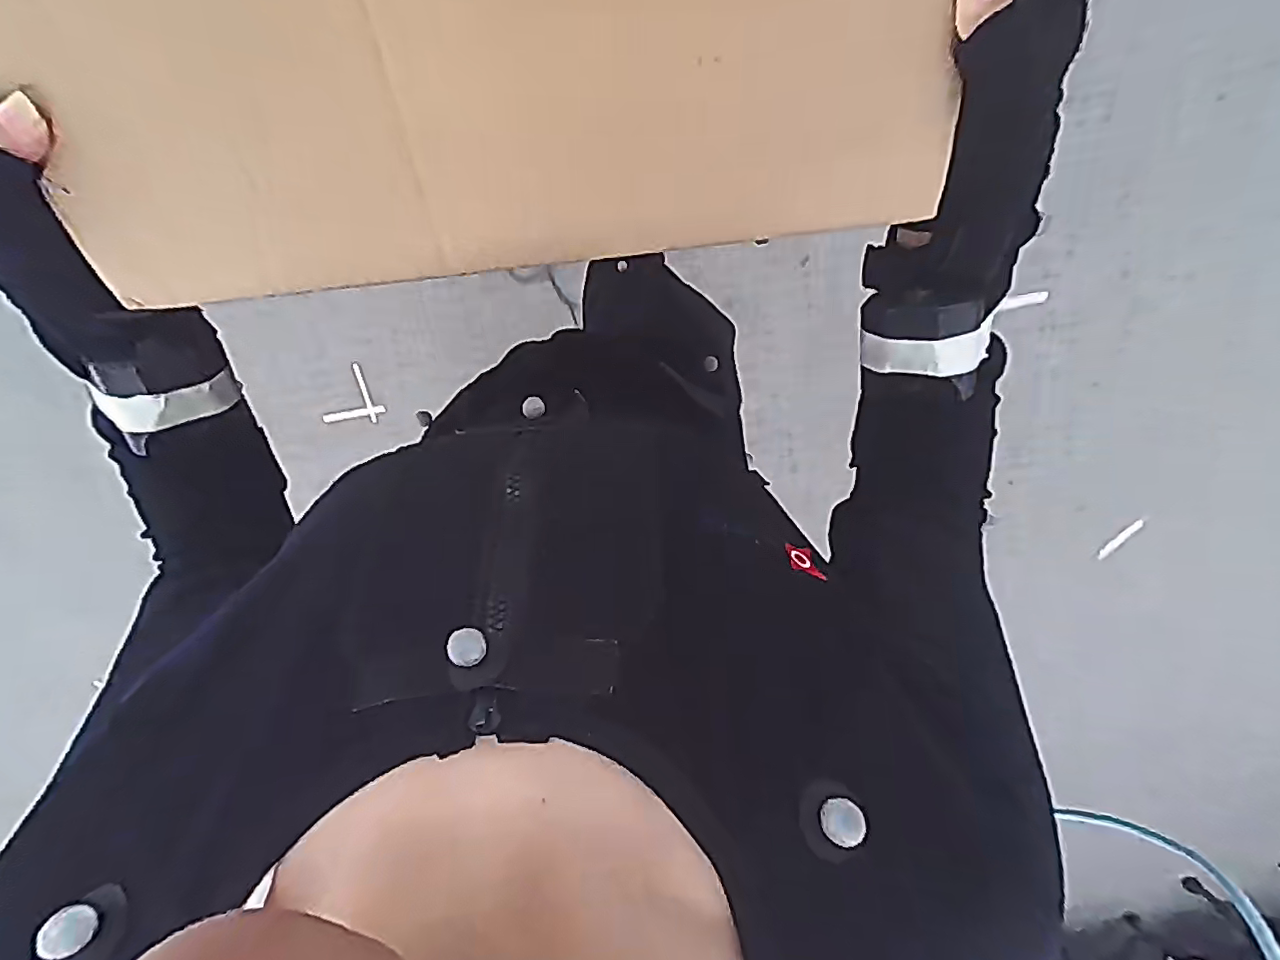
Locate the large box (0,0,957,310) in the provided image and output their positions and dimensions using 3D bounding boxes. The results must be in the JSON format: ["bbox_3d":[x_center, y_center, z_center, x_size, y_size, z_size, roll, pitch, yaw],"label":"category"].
[{"bbox_3d":[-0.078,-0.323,0.303,0.408,0.320,0.320,-6,127,2],"label":"large box"}]
